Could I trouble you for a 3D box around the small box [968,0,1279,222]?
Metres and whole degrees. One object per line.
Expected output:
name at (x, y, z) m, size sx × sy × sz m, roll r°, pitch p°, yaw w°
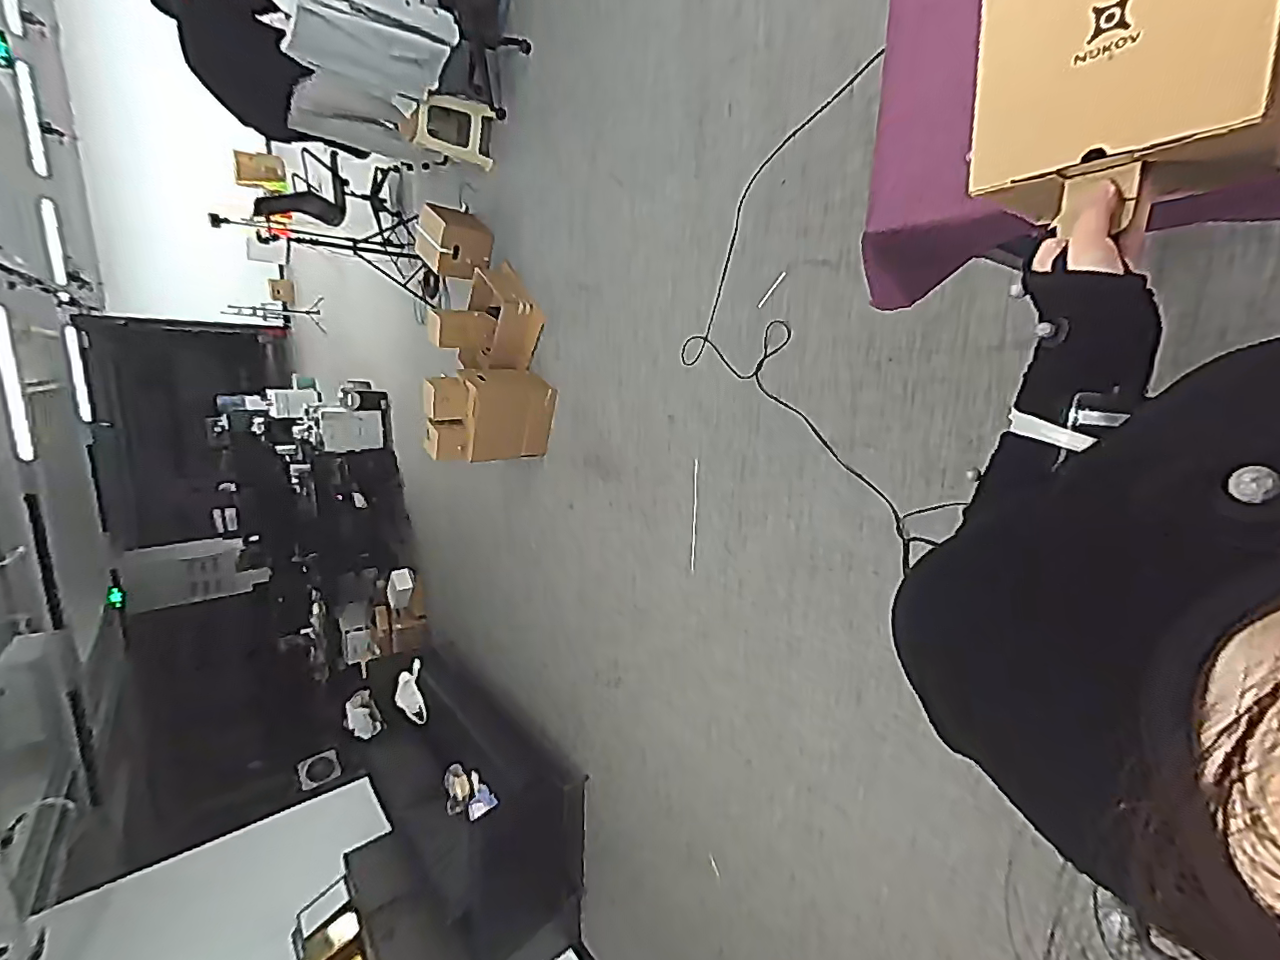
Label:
small box at (0.395, -0.330, 0.439) m, size 0.168 × 0.176 × 0.179 m, roll 11°, pitch 108°, yaw 50°
